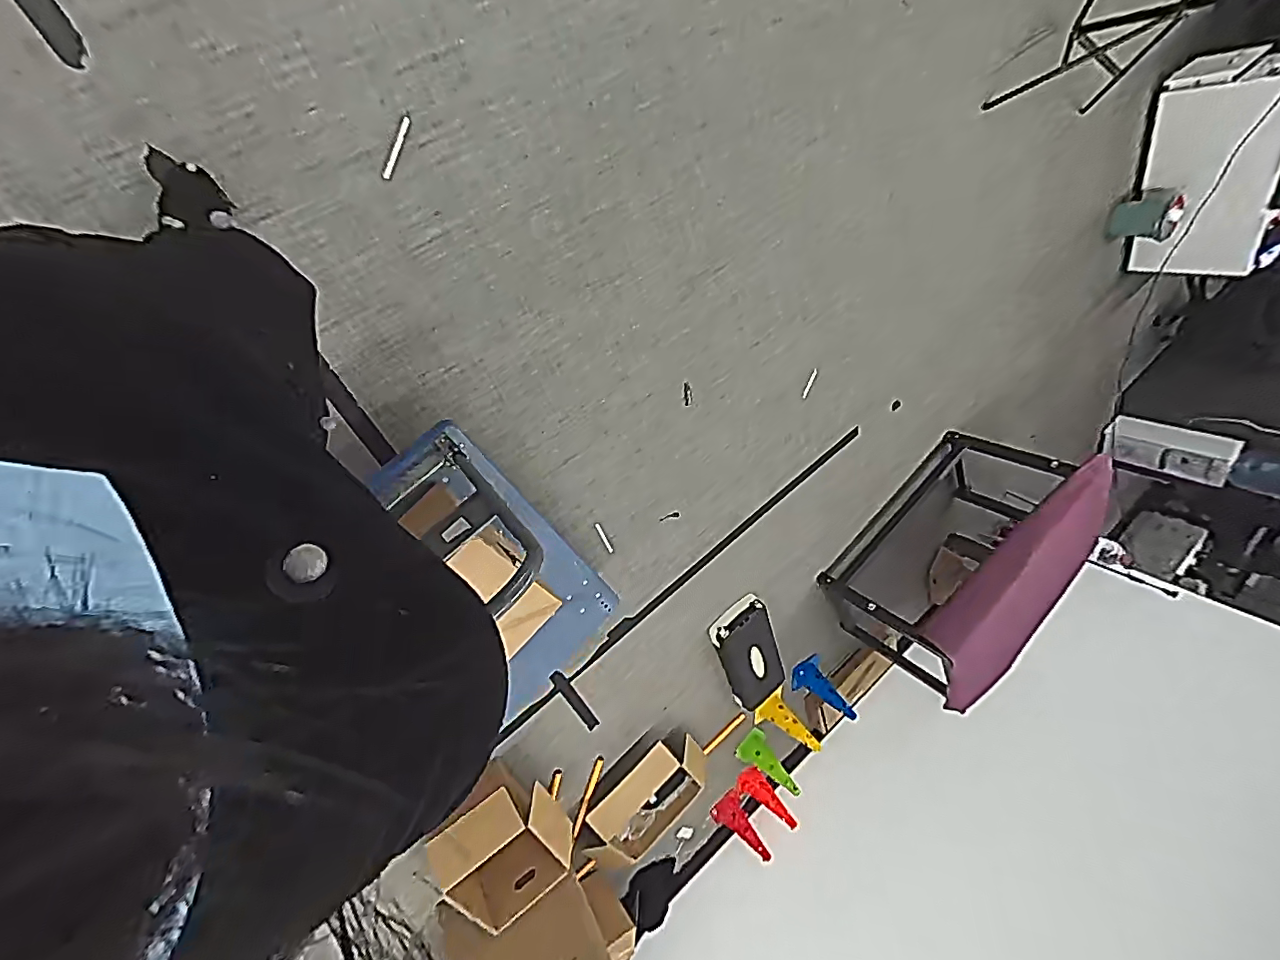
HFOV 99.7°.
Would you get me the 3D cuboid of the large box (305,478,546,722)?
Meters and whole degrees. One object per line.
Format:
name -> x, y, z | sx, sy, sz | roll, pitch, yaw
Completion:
large box -> -0.510, 0.273, 1.290 | 0.408, 0.320, 0.320 | -46, 129, -8
